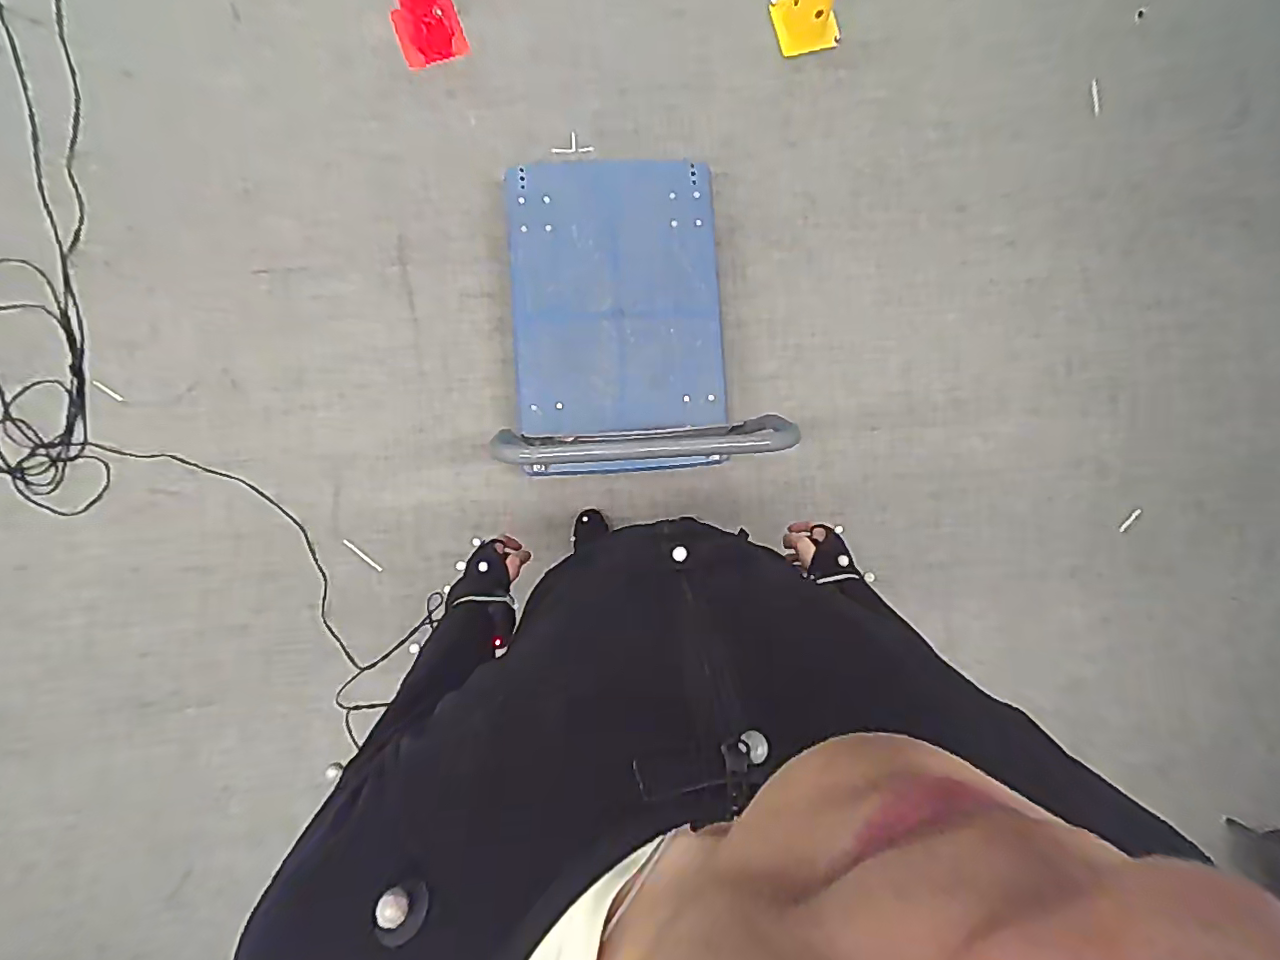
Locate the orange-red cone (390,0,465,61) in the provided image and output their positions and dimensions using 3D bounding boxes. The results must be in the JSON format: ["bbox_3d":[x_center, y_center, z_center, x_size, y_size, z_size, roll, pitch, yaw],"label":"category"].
[{"bbox_3d":[-0.647,-1.405,1.493,0.199,0.360,0.198,-19,88,-2],"label":"orange-red cone"}]
